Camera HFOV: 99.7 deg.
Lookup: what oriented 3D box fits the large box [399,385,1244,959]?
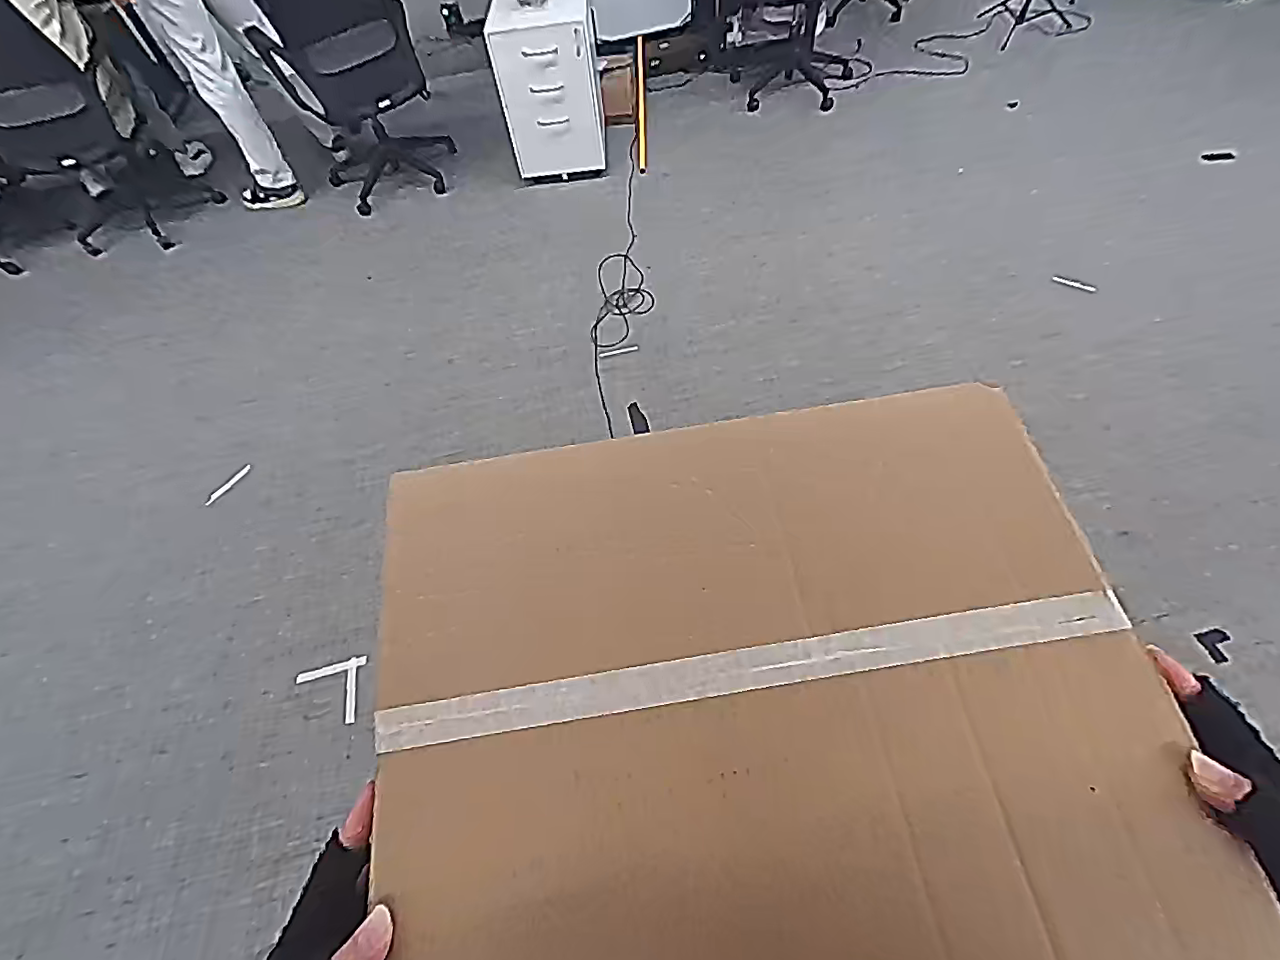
[{"bbox_3d":[0.070,0.166,0.443,0.408,0.320,0.320,-9,65,0],"label":"large box"}]
